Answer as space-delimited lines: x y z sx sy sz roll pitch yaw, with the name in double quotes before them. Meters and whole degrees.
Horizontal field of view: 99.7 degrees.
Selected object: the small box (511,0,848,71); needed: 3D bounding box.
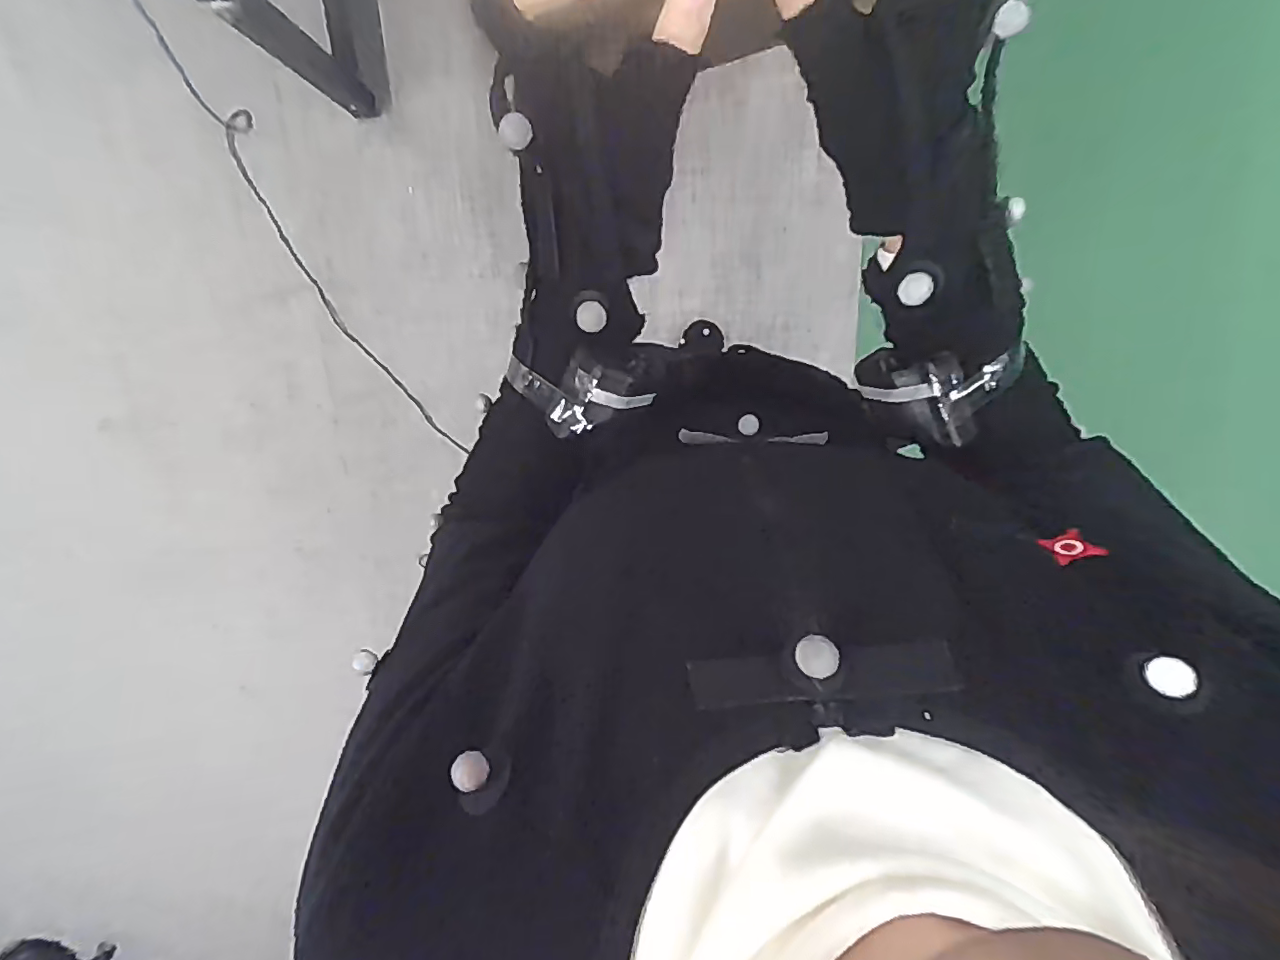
"small box" 0.021 -0.317 0.243 0.168 0.176 0.179 -7 113 14
